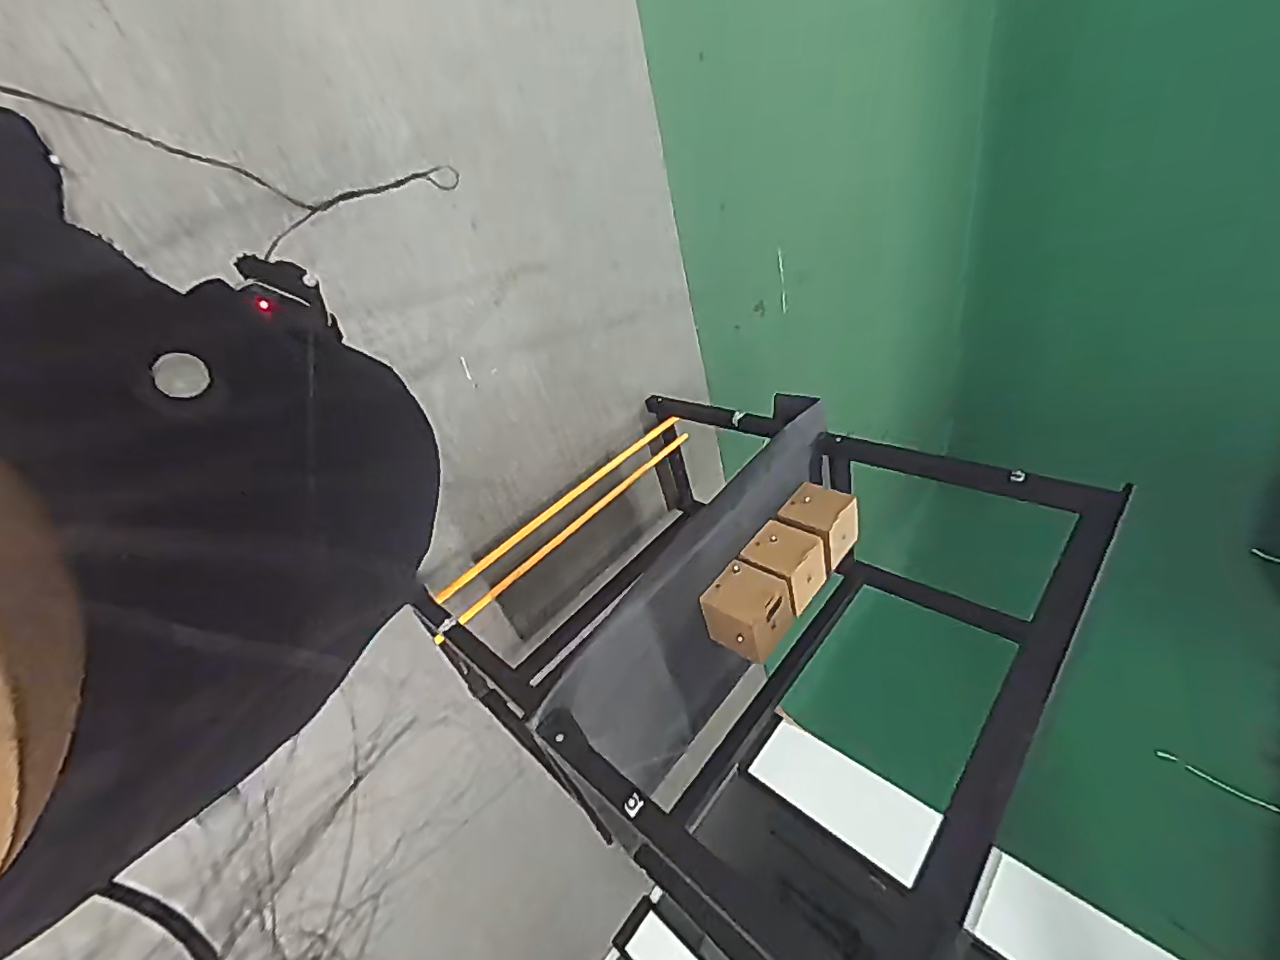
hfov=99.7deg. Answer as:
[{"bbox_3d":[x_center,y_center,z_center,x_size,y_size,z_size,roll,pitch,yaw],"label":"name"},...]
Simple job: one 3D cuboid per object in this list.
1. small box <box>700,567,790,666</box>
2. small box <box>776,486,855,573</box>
[{"bbox_3d":[0.279,0.354,1.448,0.168,0.176,0.179,-41,132,-29],"label":"small box"},{"bbox_3d":[0.529,0.143,1.629,0.168,0.176,0.179,-41,131,-29],"label":"small box"}]
